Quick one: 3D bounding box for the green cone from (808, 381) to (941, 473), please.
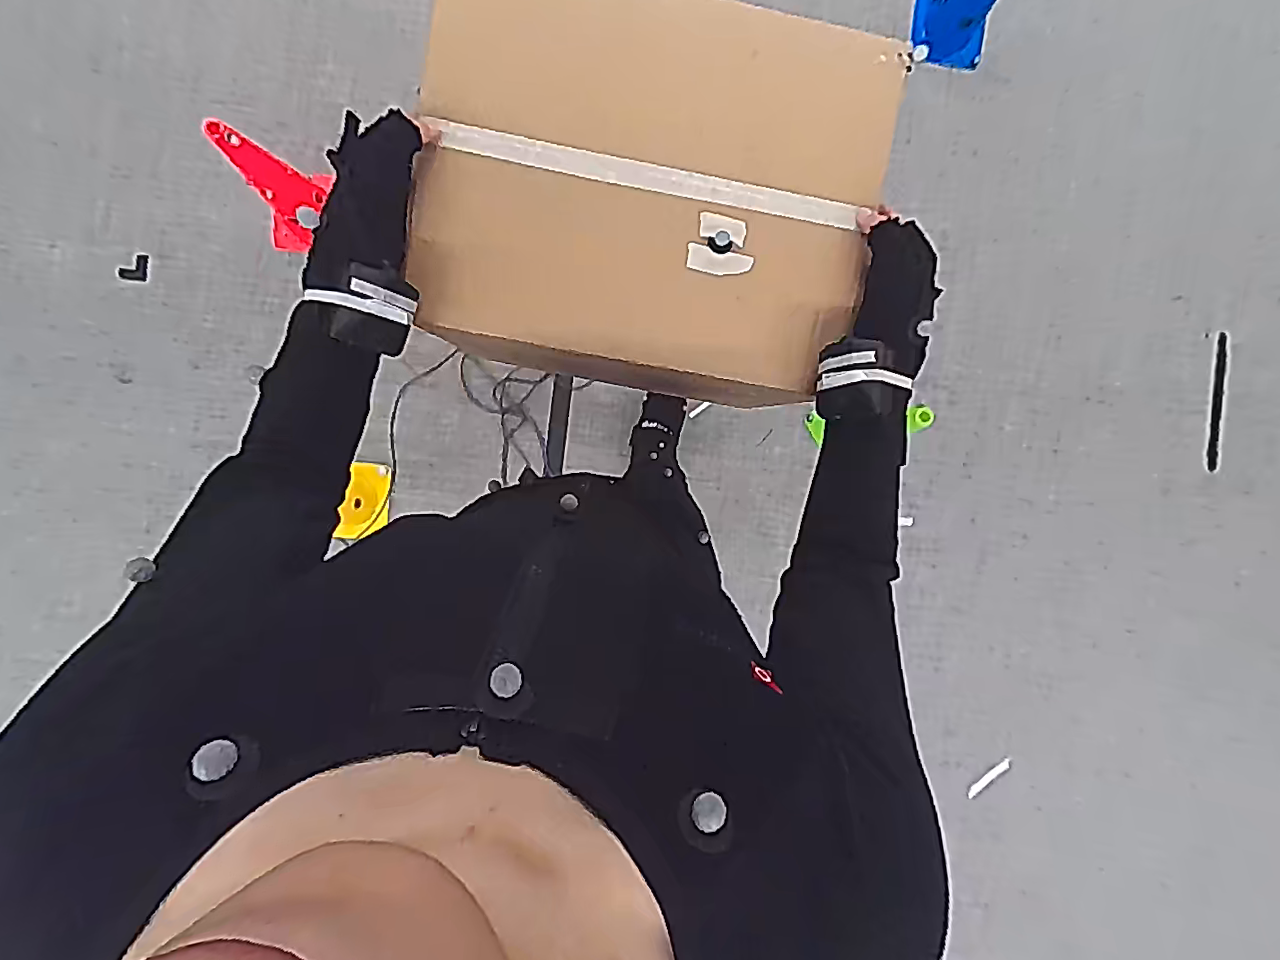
[{"bbox_3d":[0.594,-0.141,1.304,0.202,0.368,0.200,-32,93,-3],"label":"green cone"}]

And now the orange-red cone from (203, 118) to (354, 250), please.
[{"bbox_3d":[-0.839,-0.693,1.230,0.198,0.360,0.199,3,92,-2],"label":"orange-red cone"}]

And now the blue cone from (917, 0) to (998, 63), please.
[{"bbox_3d":[0.863,-1.240,1.311,0.192,0.380,0.193,9,91,-4],"label":"blue cone"}]

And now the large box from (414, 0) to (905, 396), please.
[{"bbox_3d":[0.006,-0.287,0.623,0.408,0.320,0.320,9,96,-5],"label":"large box"}]
